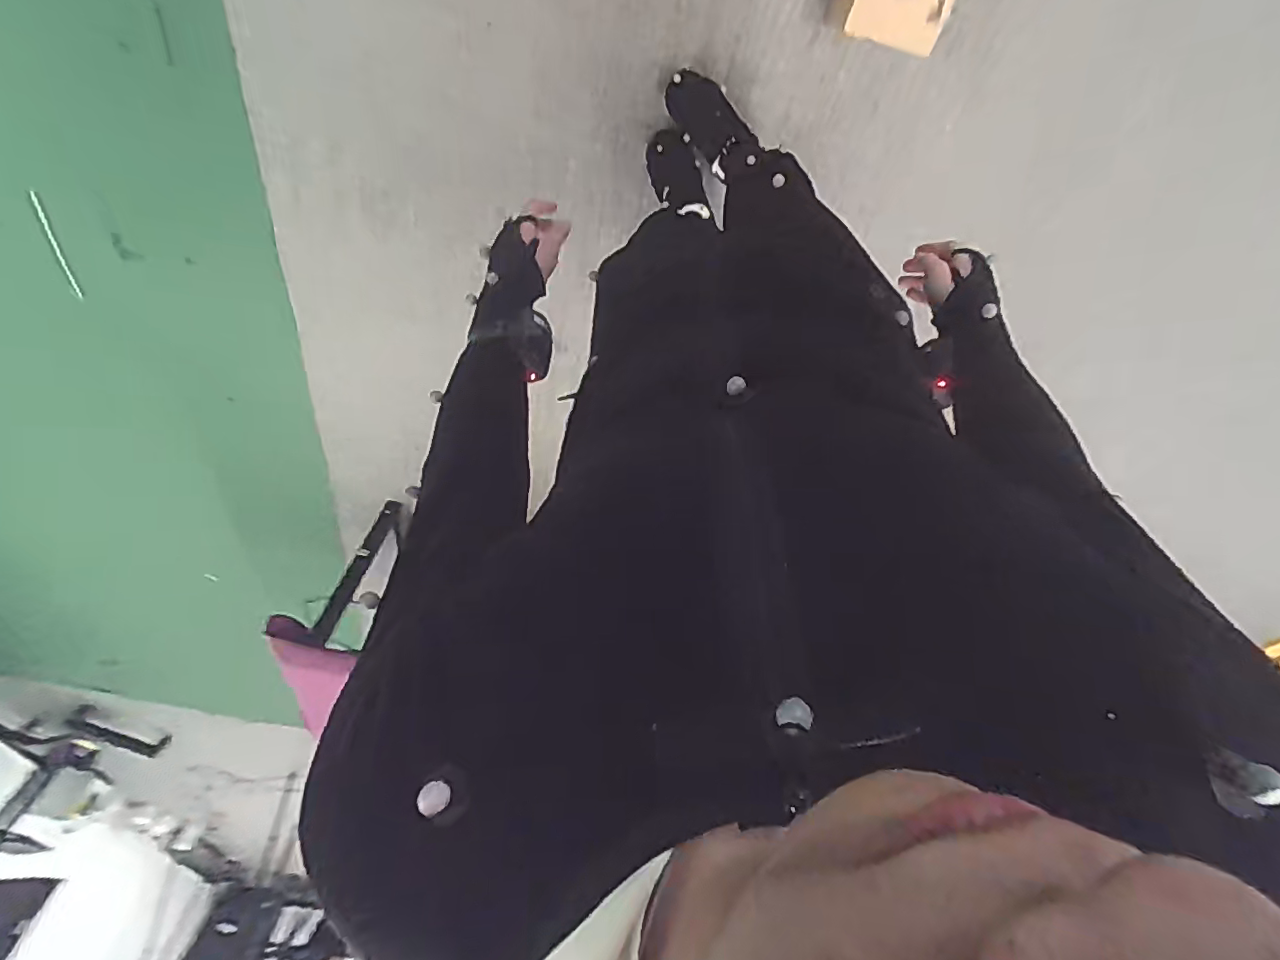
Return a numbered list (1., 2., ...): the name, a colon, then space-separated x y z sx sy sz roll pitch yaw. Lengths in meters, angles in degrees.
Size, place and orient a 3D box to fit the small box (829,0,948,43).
1. small box: 0.468 -0.928 0.987 0.179 0.176 0.168 12 132 -6
